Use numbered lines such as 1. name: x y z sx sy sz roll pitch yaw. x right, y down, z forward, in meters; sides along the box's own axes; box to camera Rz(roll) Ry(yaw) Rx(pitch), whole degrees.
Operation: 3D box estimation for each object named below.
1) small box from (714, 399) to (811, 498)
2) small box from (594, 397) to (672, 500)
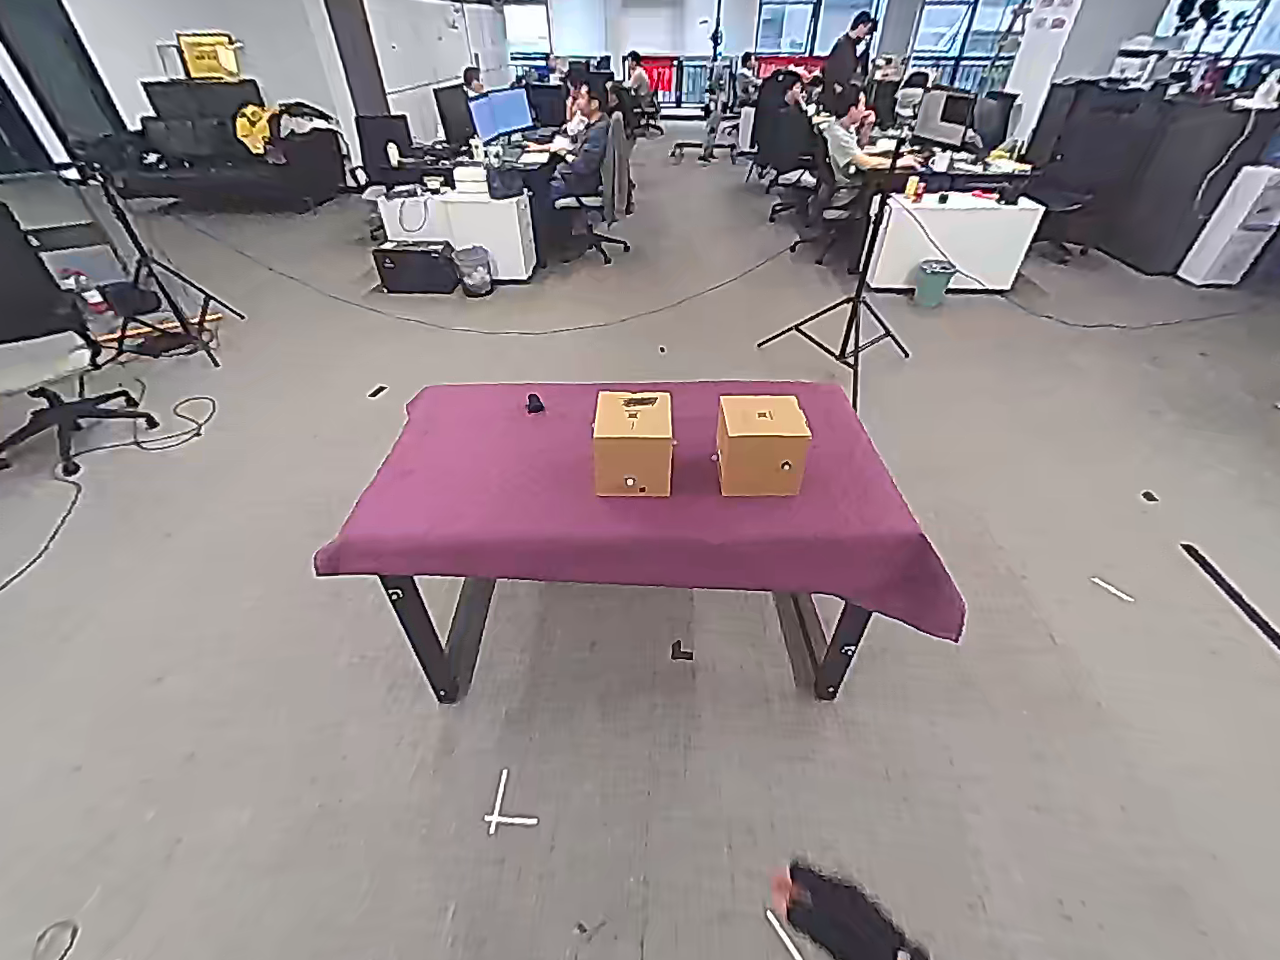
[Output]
1. small box: 0.271 -0.071 1.235 0.179 0.176 0.168 -2 38 0
2. small box: -0.013 -0.073 1.238 0.168 0.176 0.179 0 40 1
